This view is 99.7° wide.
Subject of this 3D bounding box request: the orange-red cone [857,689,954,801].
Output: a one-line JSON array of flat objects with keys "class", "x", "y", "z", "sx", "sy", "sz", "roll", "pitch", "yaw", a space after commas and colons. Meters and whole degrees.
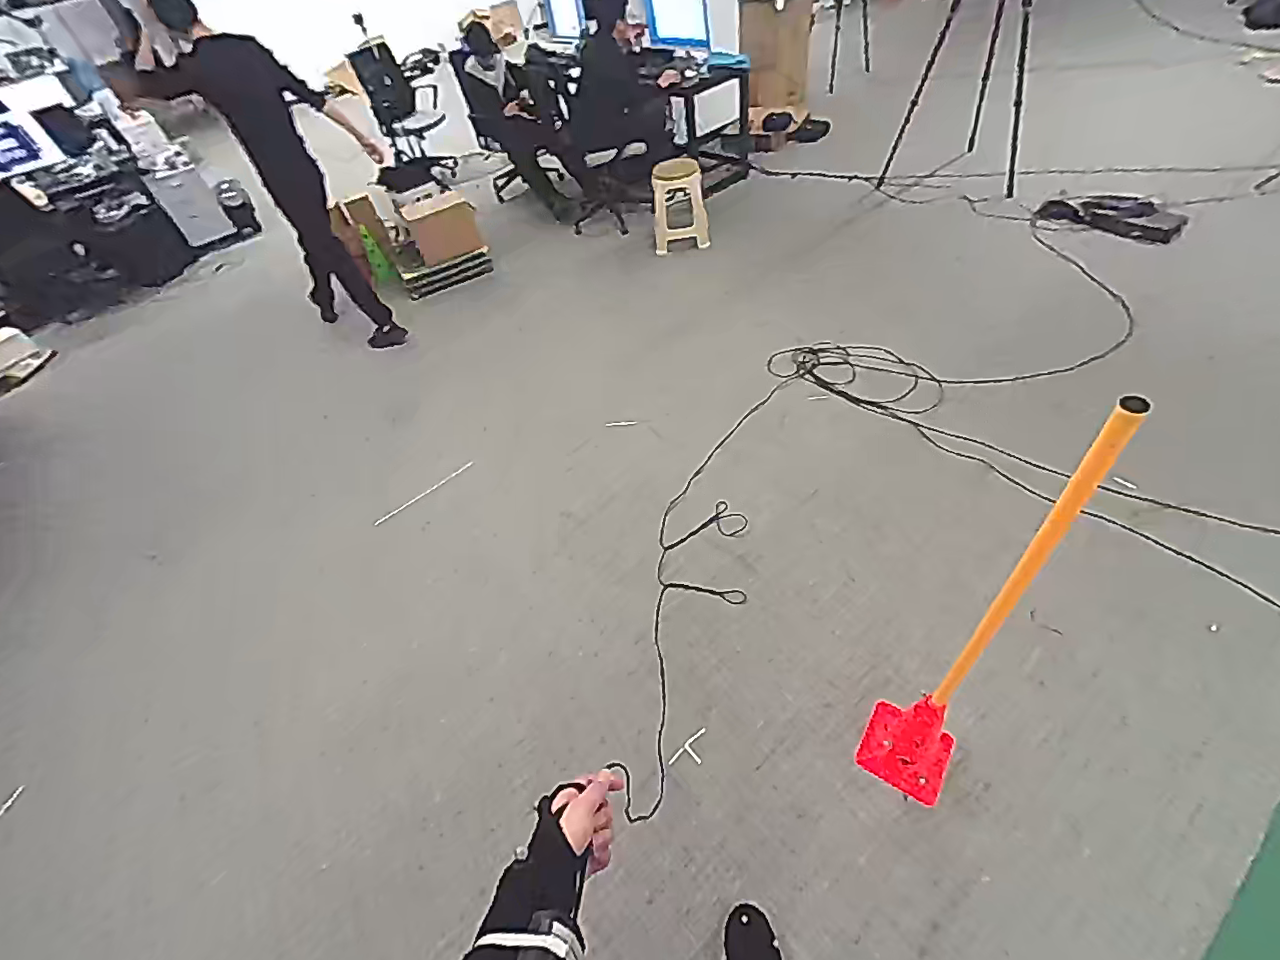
[{"class": "orange-red cone", "x": 0.669, "y": 0.582, "z": 1.287, "sx": 0.198, "sy": 0.360, "sz": 0.199, "roll": 24, "pitch": 56, "yaw": 29}]
